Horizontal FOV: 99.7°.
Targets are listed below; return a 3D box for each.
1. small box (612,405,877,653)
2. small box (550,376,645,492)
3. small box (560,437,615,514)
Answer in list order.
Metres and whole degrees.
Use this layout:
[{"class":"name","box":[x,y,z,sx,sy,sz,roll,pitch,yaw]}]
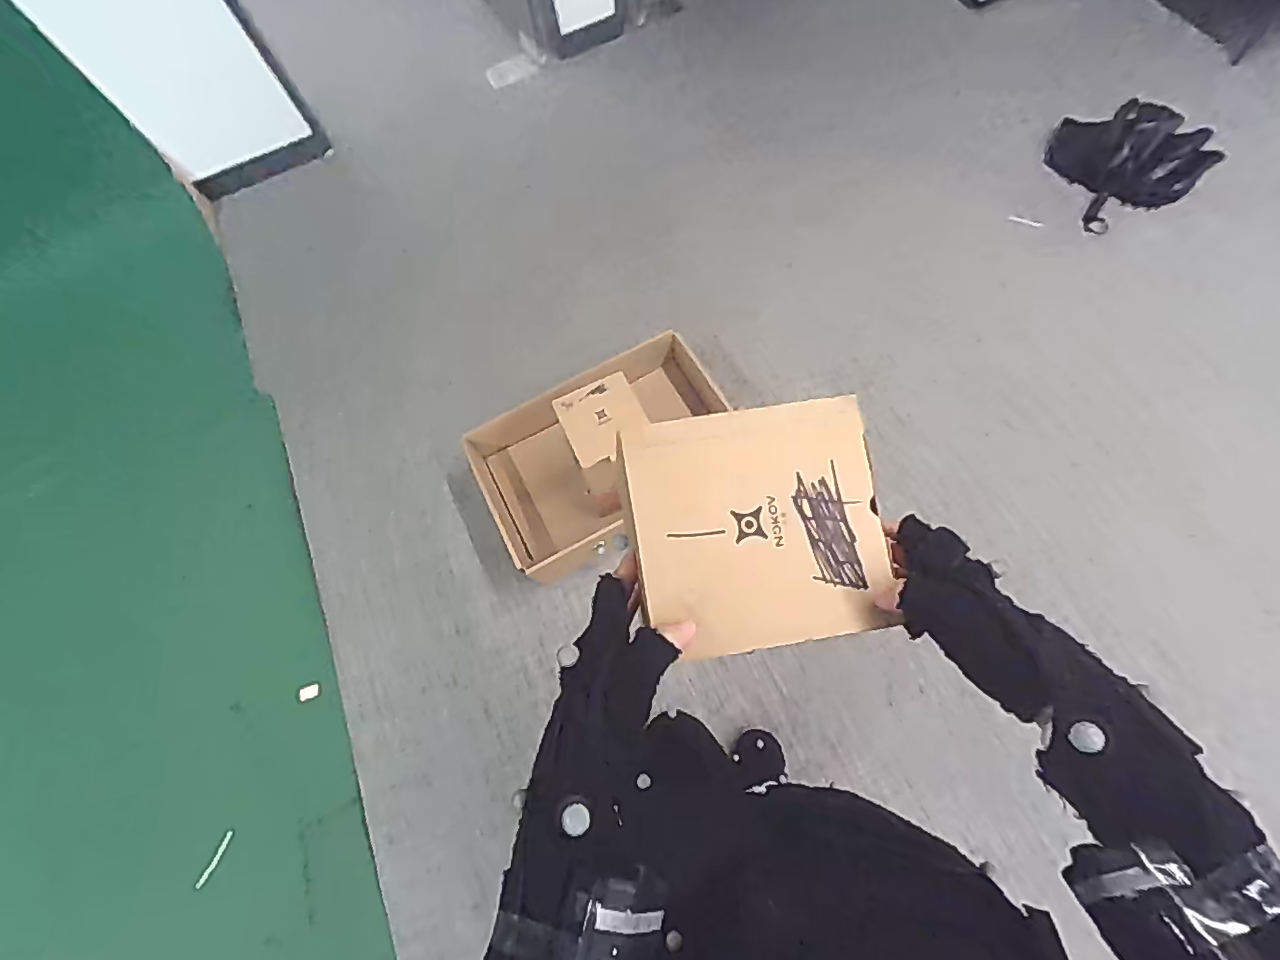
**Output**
[{"class":"small box","box":[0.072,0.043,0.477,0.179,0.176,0.168,-8,81,-5]},{"class":"small box","box":[-0.076,-0.090,1.184,0.168,0.176,0.179,-24,69,-6]},{"class":"small box","box":[-0.075,-0.034,1.337,0.168,0.176,0.179,-27,68,-7]}]
